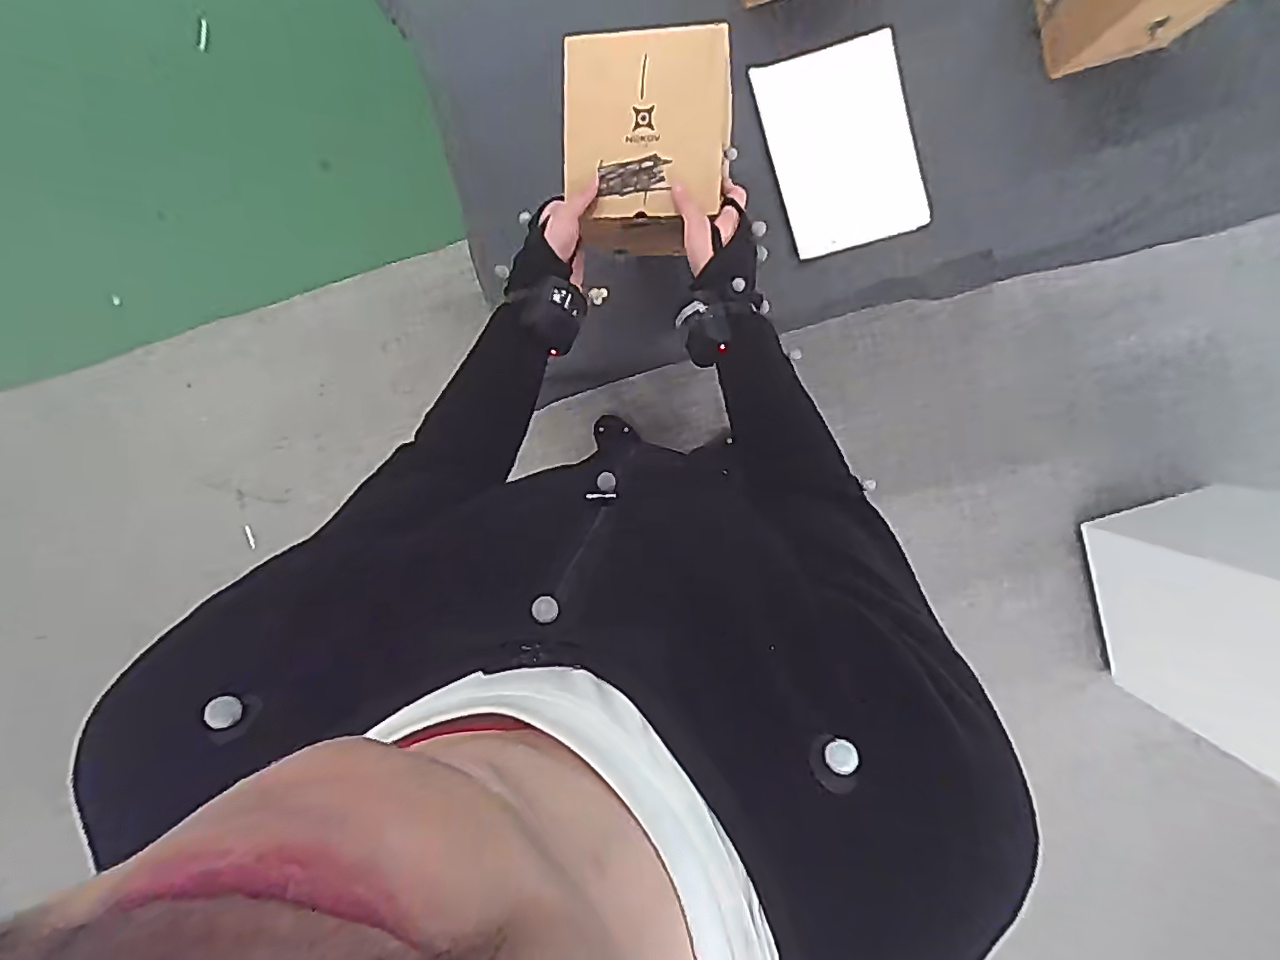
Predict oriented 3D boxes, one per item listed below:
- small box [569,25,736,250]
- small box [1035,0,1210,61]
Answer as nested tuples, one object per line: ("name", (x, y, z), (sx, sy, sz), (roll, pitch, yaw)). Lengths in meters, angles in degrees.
("small box", (0.022, -0.371, 0.623), (0.168, 0.176, 0.179), (4, 102, 9))
("small box", (0.614, -0.653, 0.653), (0.168, 0.176, 0.179), (-16, 99, 3))
